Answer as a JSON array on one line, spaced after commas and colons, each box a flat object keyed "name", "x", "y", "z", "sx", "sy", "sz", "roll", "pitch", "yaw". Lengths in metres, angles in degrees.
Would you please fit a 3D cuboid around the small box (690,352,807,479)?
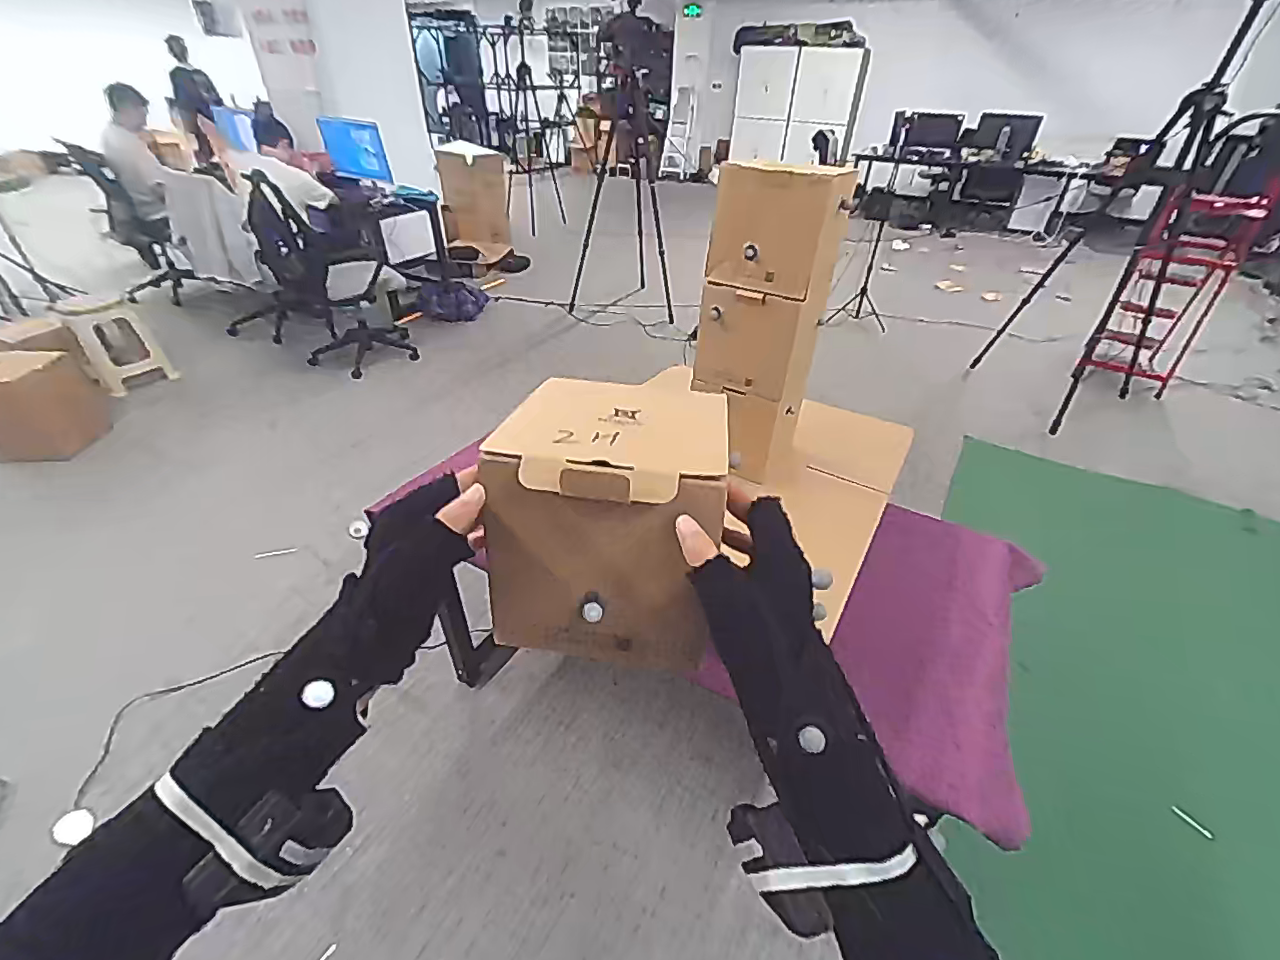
[{"name": "small box", "x": 0.200, "y": -0.125, "z": 1.039, "sx": 0.168, "sy": 0.176, "sz": 0.179, "roll": 22, "pitch": 38, "yaw": 24}]

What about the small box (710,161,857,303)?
[{"name": "small box", "x": 0.222, "y": -0.397, "z": 0.857, "sx": 0.168, "sy": 0.176, "sz": 0.179, "roll": 21, "pitch": 38, "yaw": 22}]

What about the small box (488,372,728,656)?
[{"name": "small box", "x": -0.018, "y": 0.020, "z": 0.467, "sx": 0.168, "sy": 0.176, "sz": 0.179, "roll": 6, "pitch": 29, "yaw": 6}]
